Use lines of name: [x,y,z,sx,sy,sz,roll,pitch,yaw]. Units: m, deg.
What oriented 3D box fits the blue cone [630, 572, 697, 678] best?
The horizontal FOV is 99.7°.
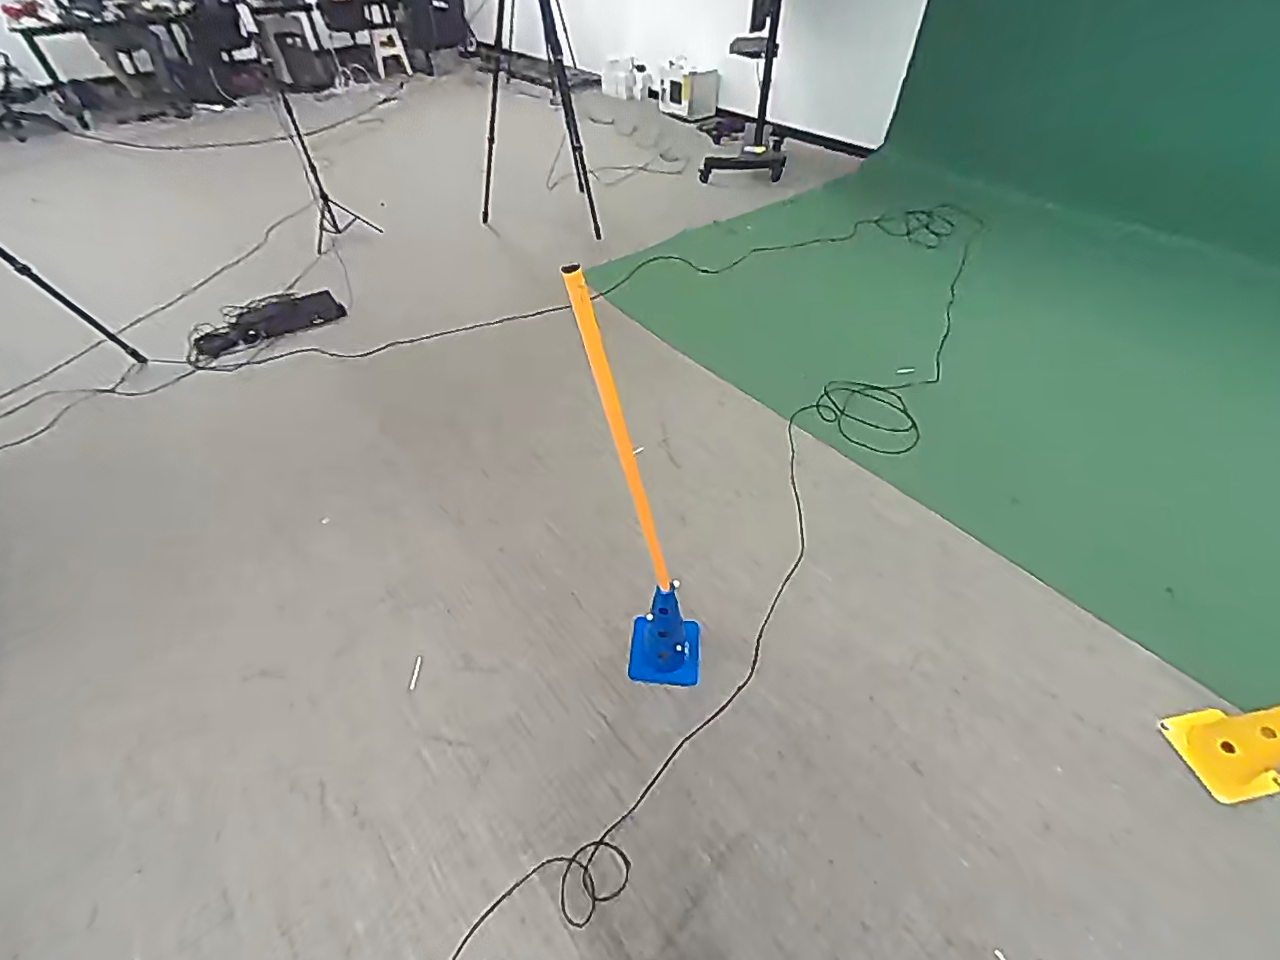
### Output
blue cone: [0.062,0.367,1.438,0.193,0.380,0.192,2,49,5]
